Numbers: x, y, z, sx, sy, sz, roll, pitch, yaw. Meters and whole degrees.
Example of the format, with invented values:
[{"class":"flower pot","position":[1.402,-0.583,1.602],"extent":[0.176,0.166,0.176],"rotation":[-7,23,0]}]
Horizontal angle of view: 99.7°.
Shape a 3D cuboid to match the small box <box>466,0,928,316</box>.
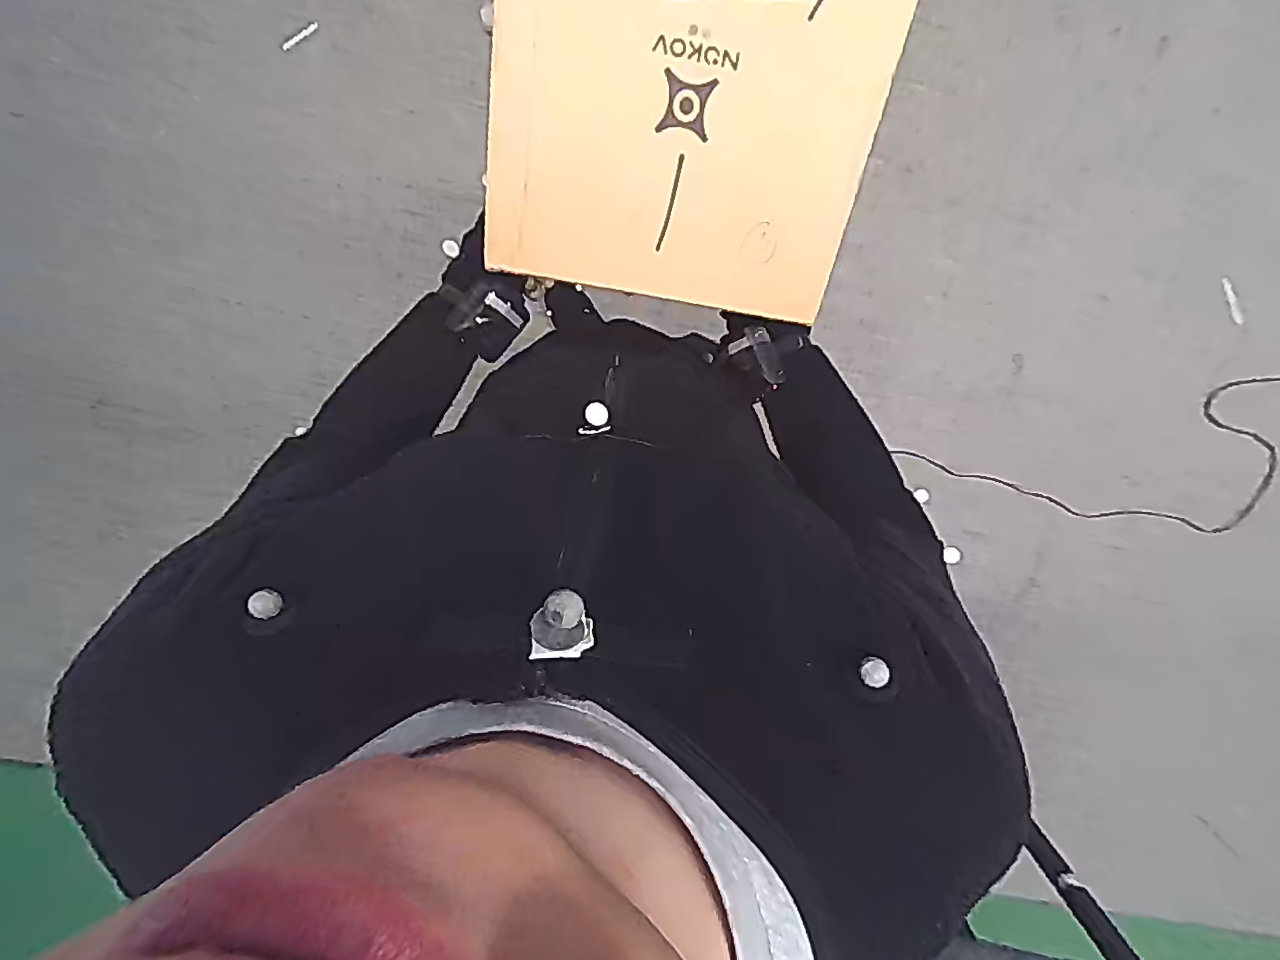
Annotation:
[{"class":"small box","position":[0.017,-0.200,0.276],"extent":[0.168,0.176,0.179],"rotation":[8,117,-7]}]
